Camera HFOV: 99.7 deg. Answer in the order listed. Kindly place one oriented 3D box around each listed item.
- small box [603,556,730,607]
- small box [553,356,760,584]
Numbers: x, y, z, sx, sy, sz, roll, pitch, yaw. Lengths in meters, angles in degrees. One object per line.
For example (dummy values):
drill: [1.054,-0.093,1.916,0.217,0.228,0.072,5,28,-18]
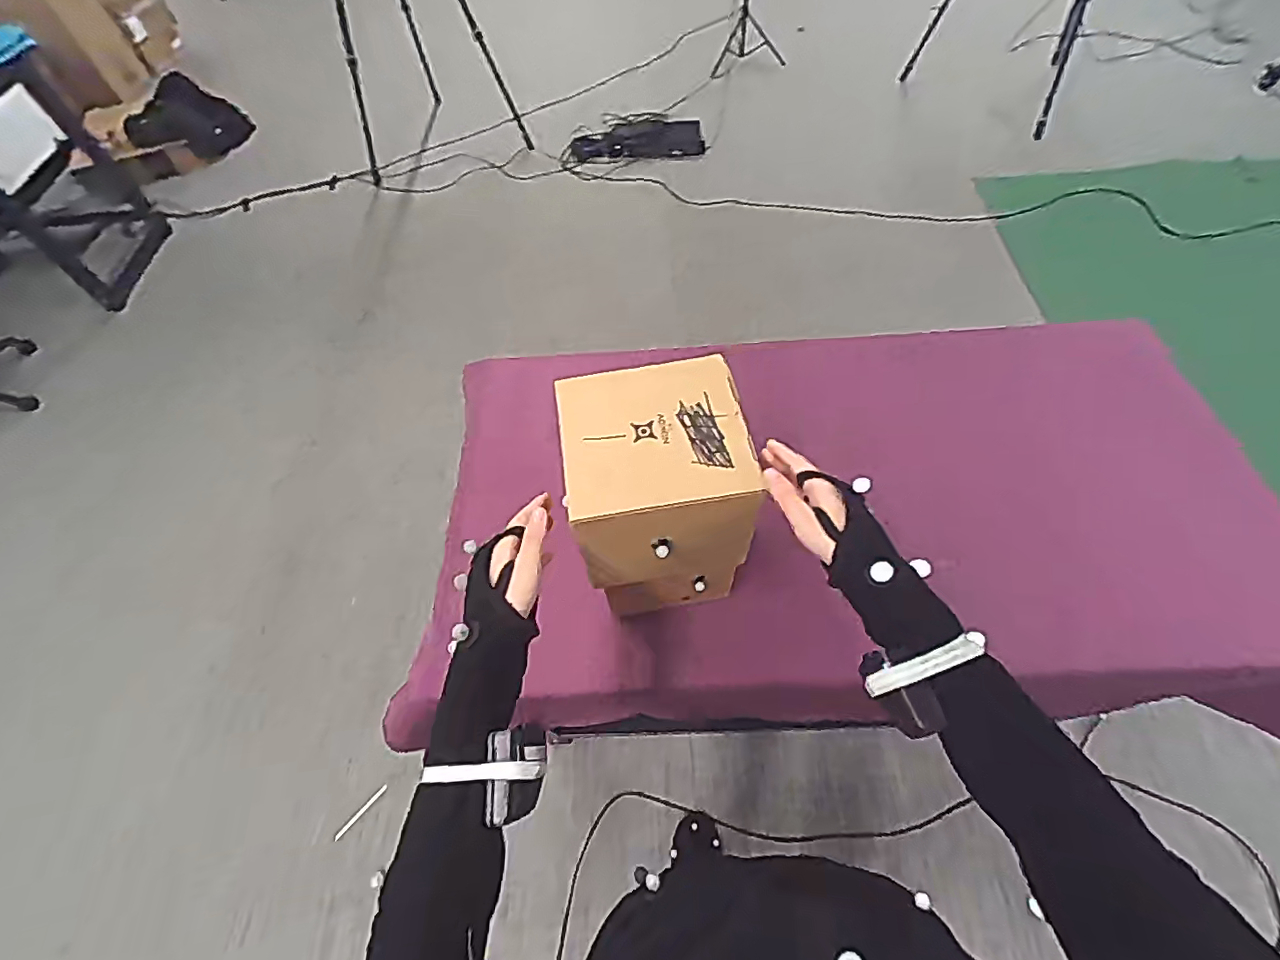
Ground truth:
small box: [0.024,0.060,0.727,0.168,0.176,0.179,-9,57,-2]
small box: [0.013,-0.003,0.575,0.179,0.176,0.168,-9,58,-1]
